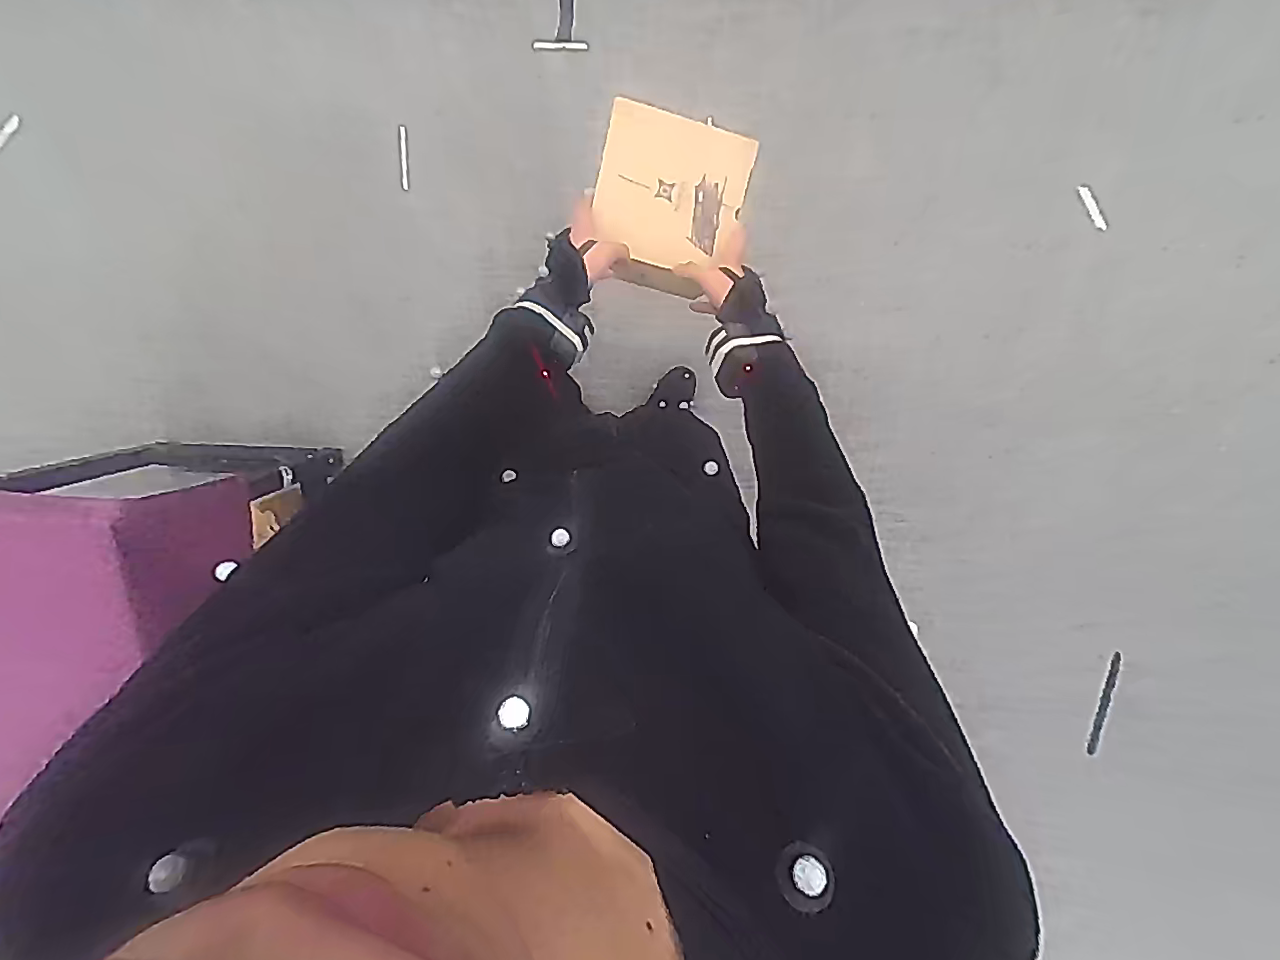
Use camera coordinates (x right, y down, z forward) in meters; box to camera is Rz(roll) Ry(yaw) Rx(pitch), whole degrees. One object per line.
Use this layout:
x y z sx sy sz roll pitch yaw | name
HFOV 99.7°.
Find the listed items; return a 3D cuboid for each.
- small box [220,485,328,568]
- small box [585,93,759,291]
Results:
-1.103 0.137 1.646 0.179 0.176 0.168 -25 103 9 | small box
0.030 -0.357 0.710 0.179 0.176 0.168 12 100 -8 | small box
